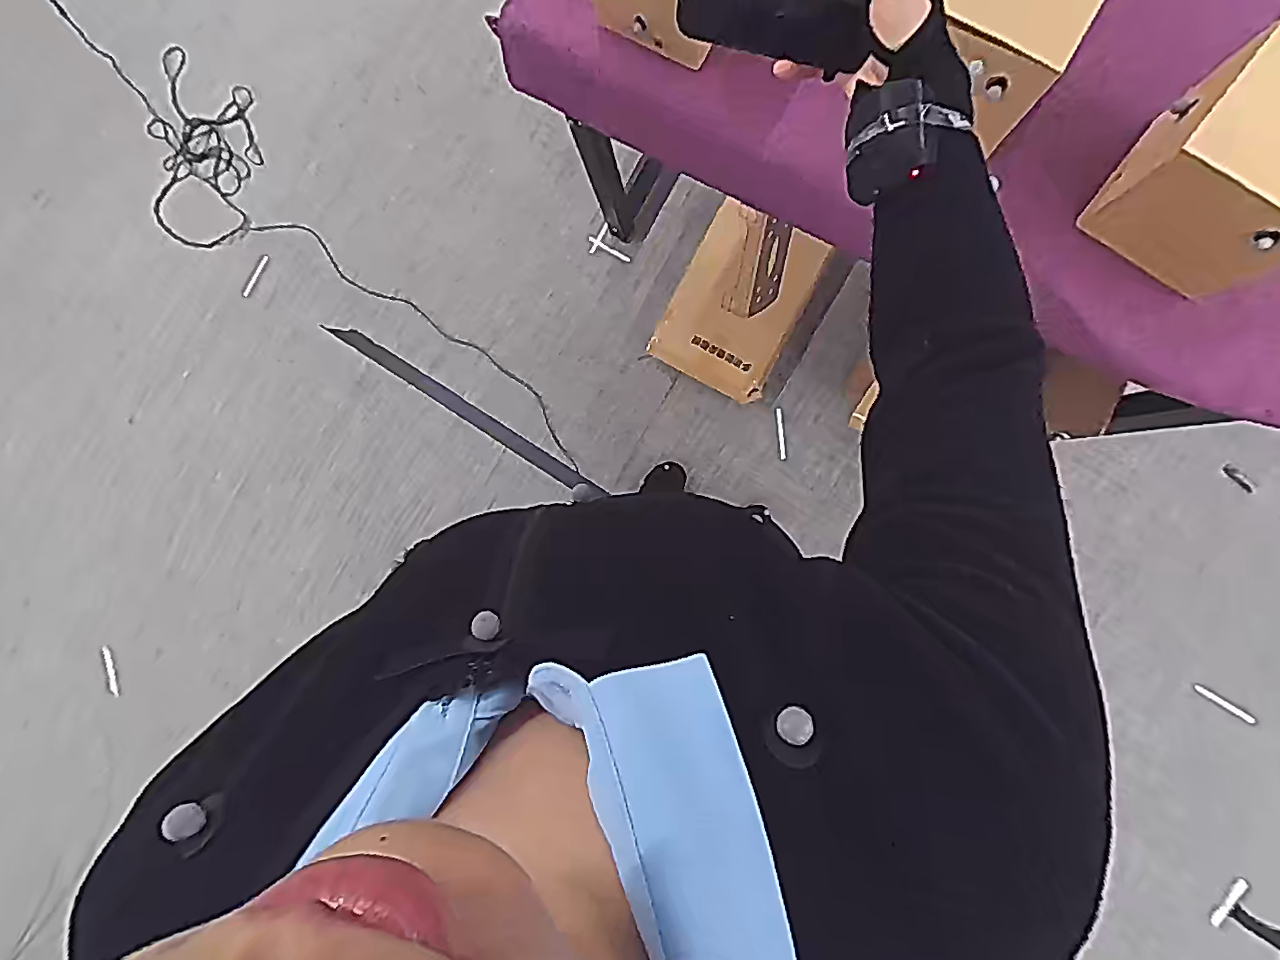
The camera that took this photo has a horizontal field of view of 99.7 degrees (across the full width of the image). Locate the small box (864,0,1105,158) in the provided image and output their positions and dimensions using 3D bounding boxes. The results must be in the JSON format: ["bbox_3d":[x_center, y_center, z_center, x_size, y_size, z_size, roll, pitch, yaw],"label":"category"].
[{"bbox_3d":[0.400,-0.521,0.633,0.179,0.176,0.168,29,91,6],"label":"small box"}]

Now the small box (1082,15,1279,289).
[{"bbox_3d":[0.664,-0.345,0.604,0.179,0.176,0.168,36,94,5],"label":"small box"}]
